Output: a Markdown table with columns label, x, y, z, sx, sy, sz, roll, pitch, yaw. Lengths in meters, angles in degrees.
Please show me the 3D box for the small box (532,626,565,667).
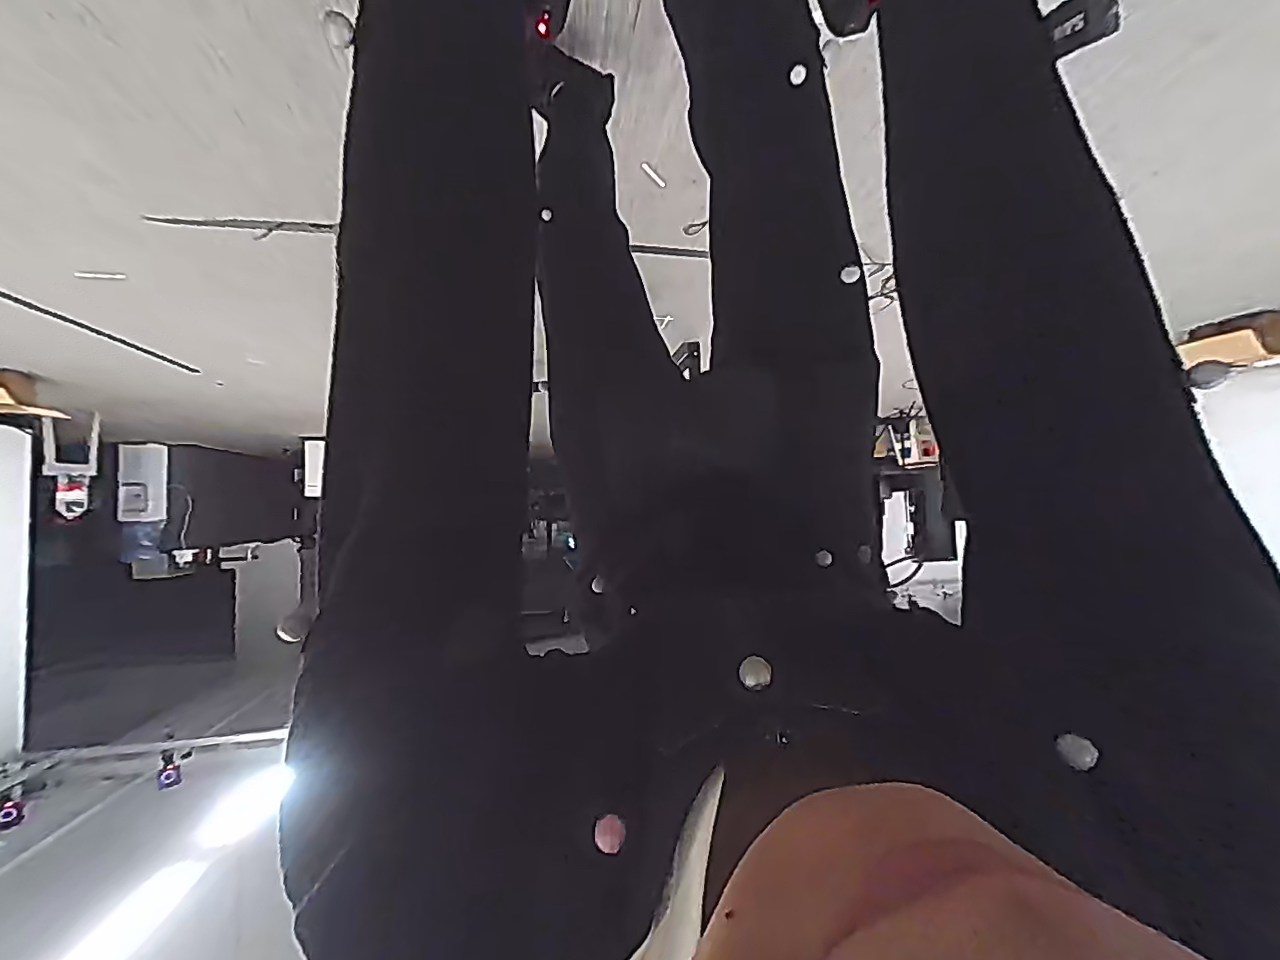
| label | x | y | z | sx | sy | sz | roll | pitch | yaw |
| --- | --- | --- | --- | --- | --- | --- | --- | --- | --- |
| small box | -0.485 | 0.877 | 2.866 | 0.168 | 0.176 | 0.179 | -2 | 177 | -11 |
